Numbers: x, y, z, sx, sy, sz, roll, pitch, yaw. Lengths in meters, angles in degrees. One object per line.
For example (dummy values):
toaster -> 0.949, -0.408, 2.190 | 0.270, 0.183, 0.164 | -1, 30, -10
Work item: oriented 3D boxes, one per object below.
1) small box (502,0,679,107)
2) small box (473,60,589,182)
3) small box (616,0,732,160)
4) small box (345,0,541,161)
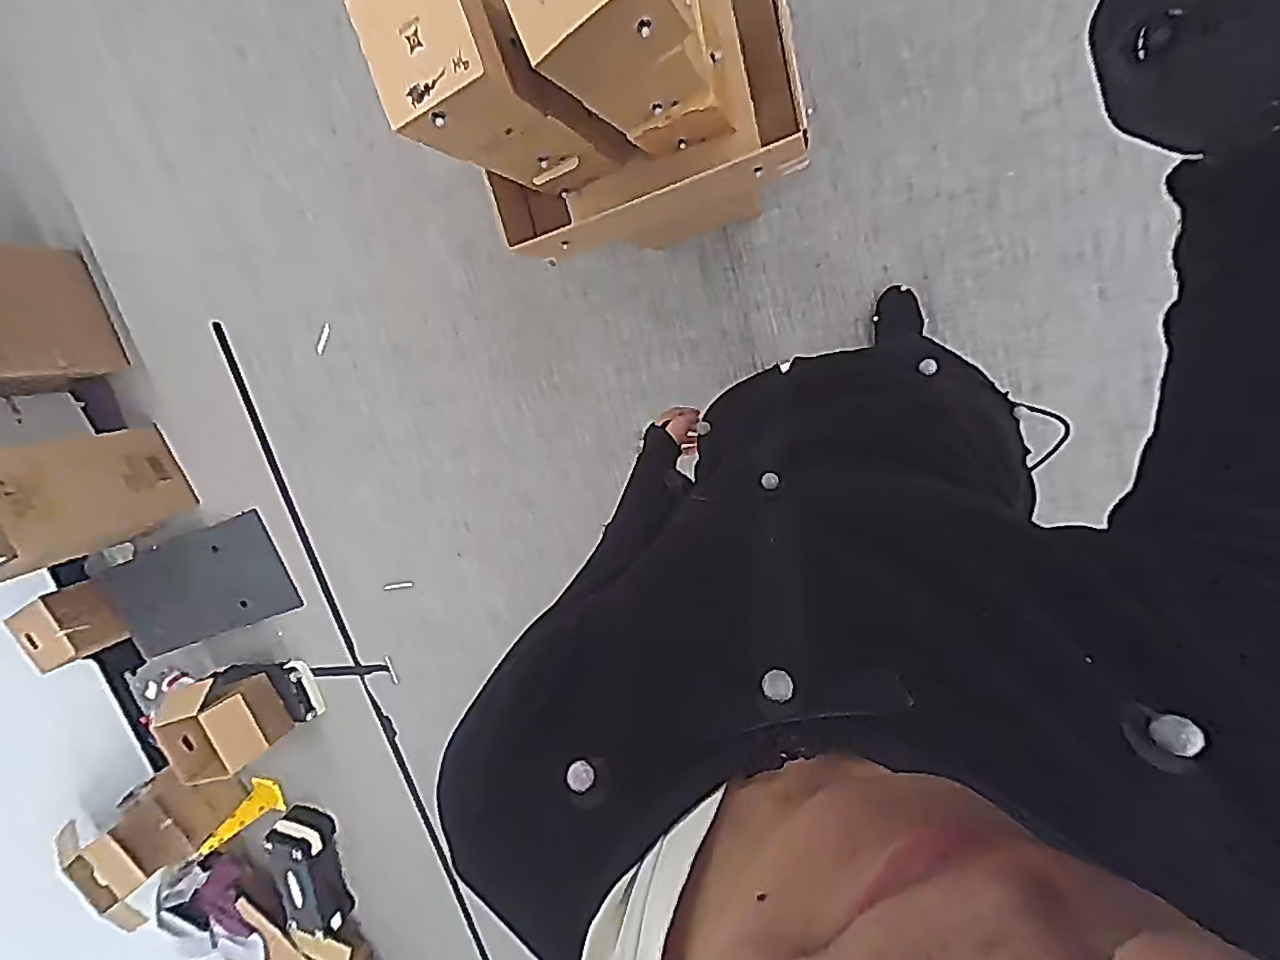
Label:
small box -> -0.065, -0.630, 0.691 | 0.179, 0.176, 0.168 | -21, 97, 26
small box -> -0.210, -0.643, 0.920 | 0.168, 0.176, 0.179 | -13, 101, 23
small box -> 0.059, -0.719, 0.982 | 0.168, 0.176, 0.179 | -7, 104, 25
small box -> -0.269, -0.597, 0.772 | 0.168, 0.176, 0.179 | -13, 100, 24
